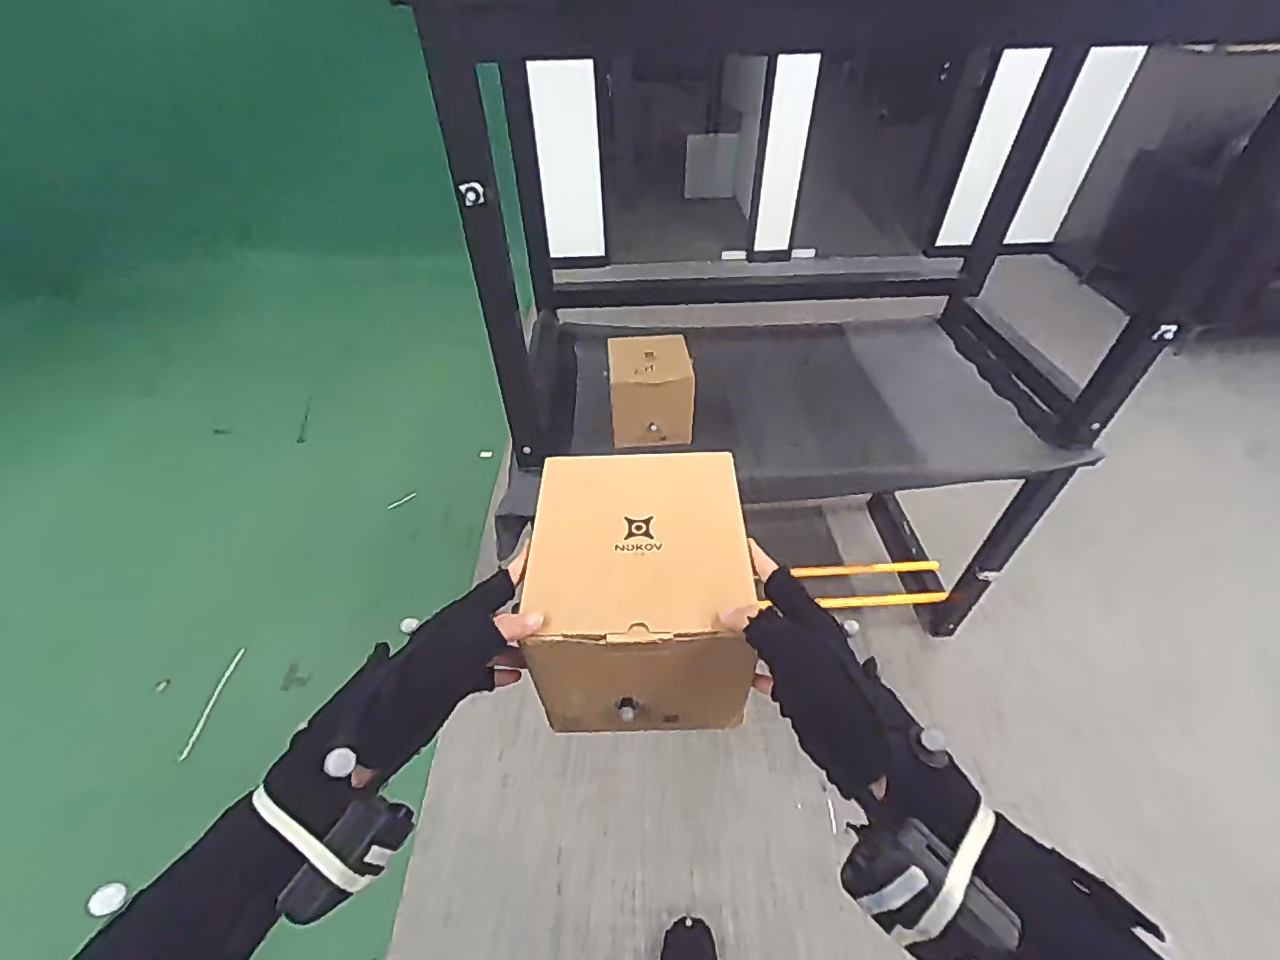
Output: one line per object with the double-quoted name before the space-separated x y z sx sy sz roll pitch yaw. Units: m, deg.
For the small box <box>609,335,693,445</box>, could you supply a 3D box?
"small box" 0.018 -0.195 1.167 0.168 0.176 0.179 -4 44 -3
